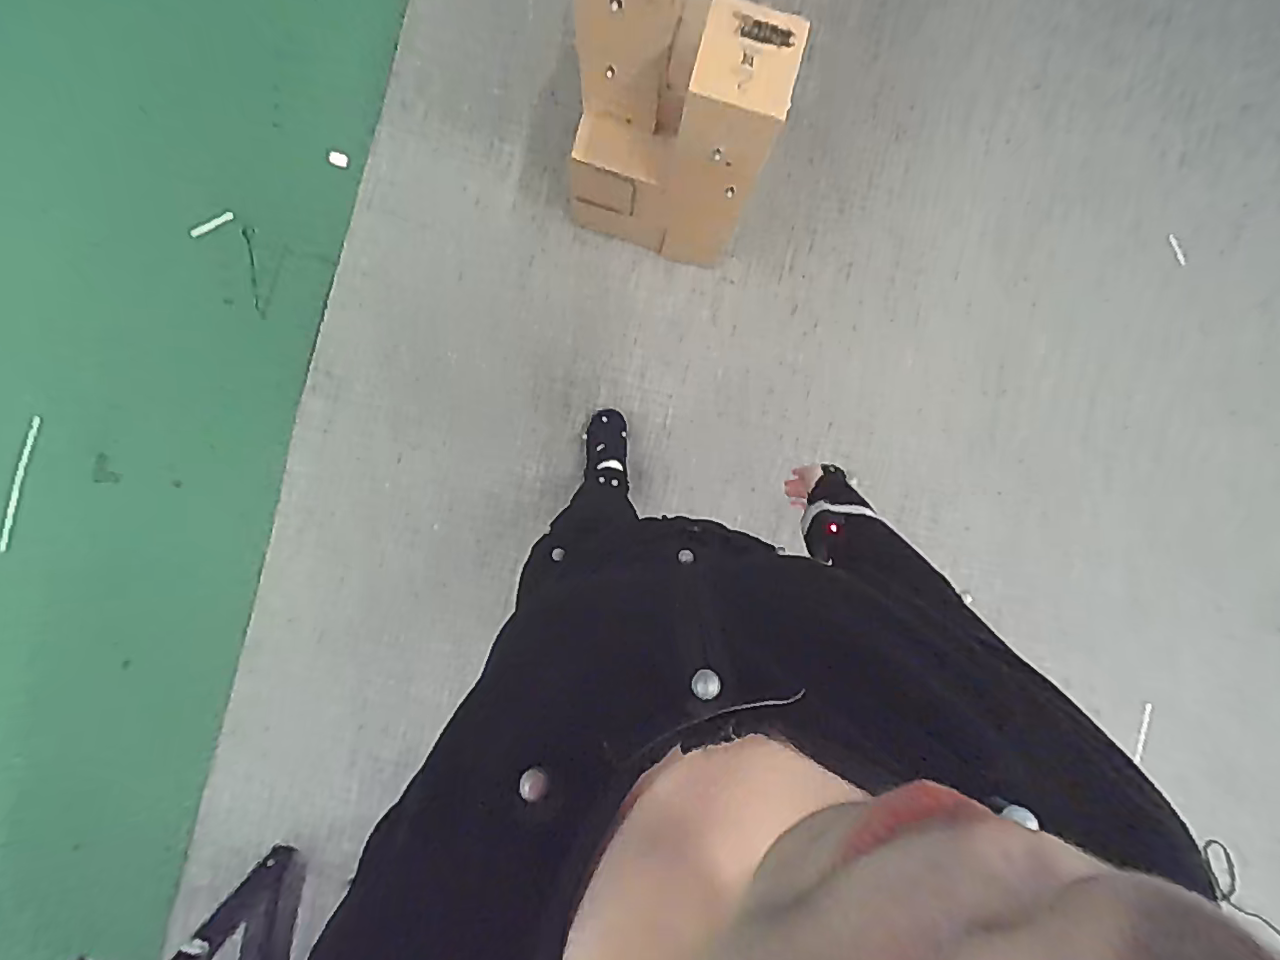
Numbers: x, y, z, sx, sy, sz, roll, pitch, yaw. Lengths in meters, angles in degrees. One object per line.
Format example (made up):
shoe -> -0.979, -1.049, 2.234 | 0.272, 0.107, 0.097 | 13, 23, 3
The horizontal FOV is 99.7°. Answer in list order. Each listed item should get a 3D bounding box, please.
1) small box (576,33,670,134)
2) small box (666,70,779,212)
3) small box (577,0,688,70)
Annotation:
small box -> -0.027, -0.865, 1.109 | 0.168, 0.176, 0.179 | 16, 86, -1
small box -> 0.161, -0.684, 1.114 | 0.179, 0.176, 0.168 | 14, 87, -2
small box -> -0.010, -0.866, 0.943 | 0.179, 0.176, 0.168 | 14, 87, 1
